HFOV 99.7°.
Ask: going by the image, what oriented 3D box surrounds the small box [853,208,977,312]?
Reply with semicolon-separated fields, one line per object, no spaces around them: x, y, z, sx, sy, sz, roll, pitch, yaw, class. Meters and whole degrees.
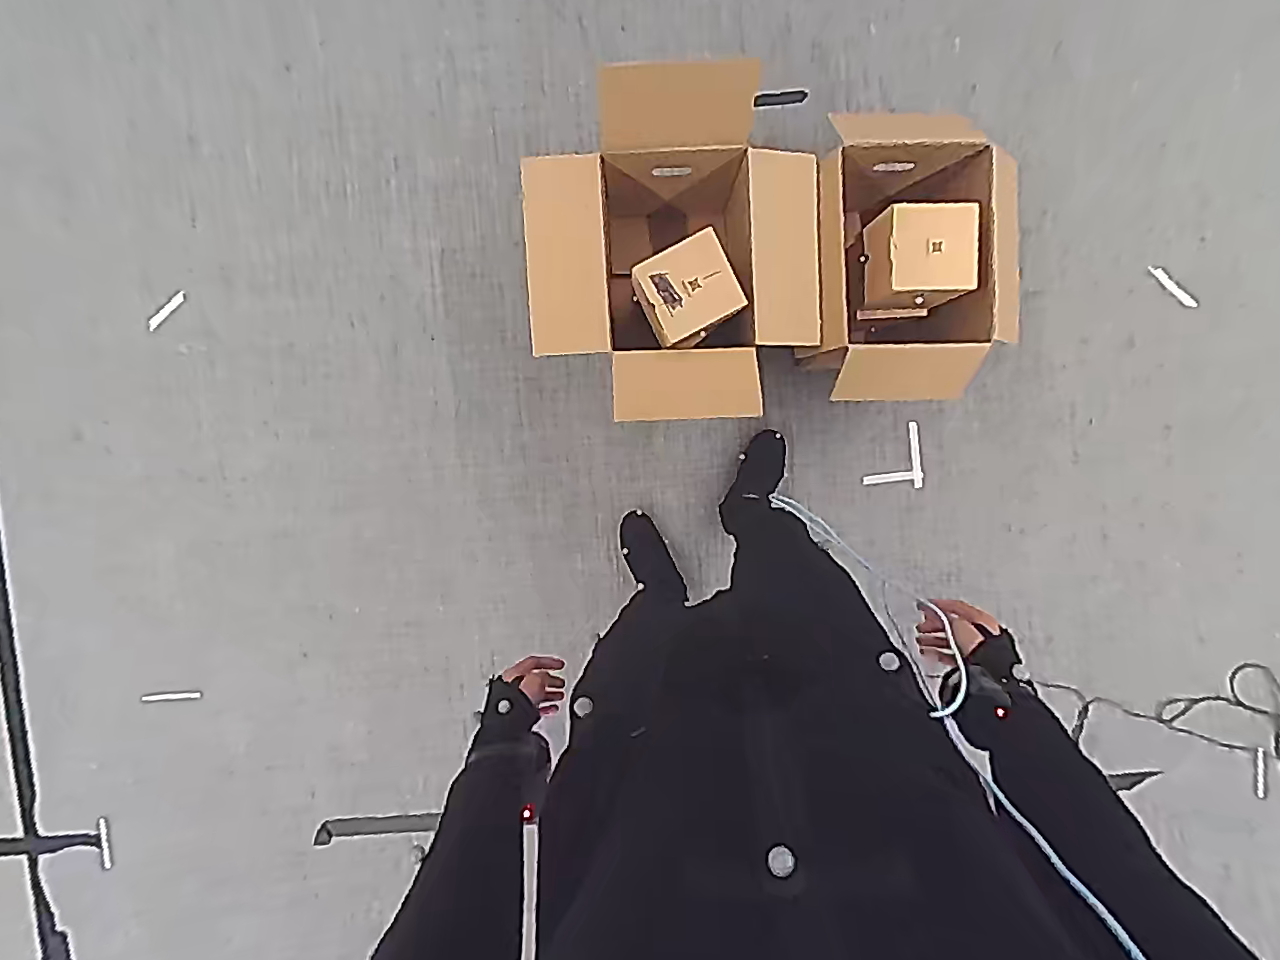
0.569;-0.454;1.135;0.179;0.176;0.168;-2;95;-1;small box
